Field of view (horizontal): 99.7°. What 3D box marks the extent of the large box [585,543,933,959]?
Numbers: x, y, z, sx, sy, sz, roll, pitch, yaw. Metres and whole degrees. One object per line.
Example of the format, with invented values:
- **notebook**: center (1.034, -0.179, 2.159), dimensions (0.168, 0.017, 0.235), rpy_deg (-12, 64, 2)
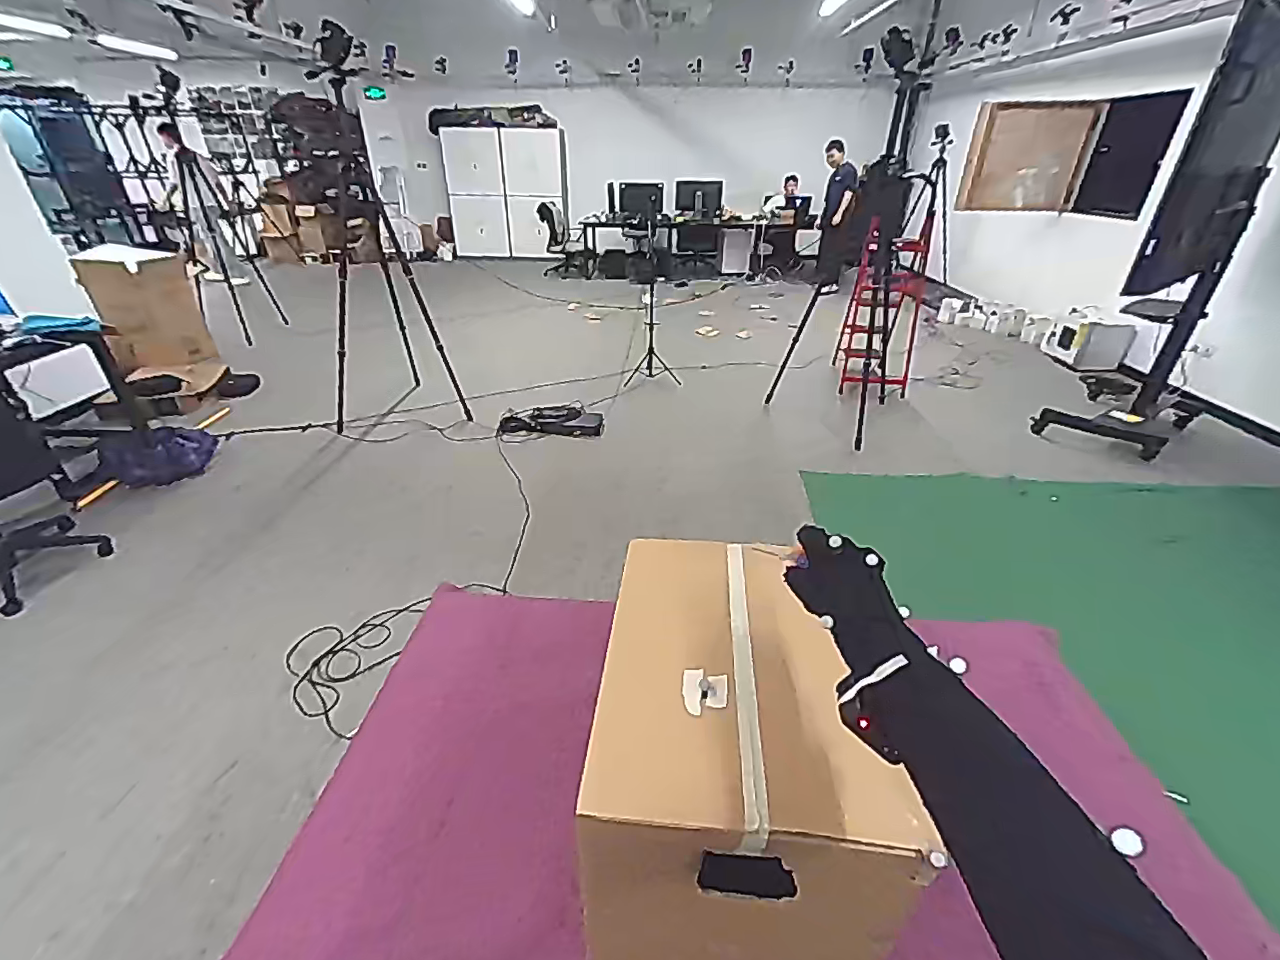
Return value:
- **large box**: center (0.114, 0.335, 0.717), dimensions (0.320, 0.320, 0.408), rpy_deg (4, 31, 5)
